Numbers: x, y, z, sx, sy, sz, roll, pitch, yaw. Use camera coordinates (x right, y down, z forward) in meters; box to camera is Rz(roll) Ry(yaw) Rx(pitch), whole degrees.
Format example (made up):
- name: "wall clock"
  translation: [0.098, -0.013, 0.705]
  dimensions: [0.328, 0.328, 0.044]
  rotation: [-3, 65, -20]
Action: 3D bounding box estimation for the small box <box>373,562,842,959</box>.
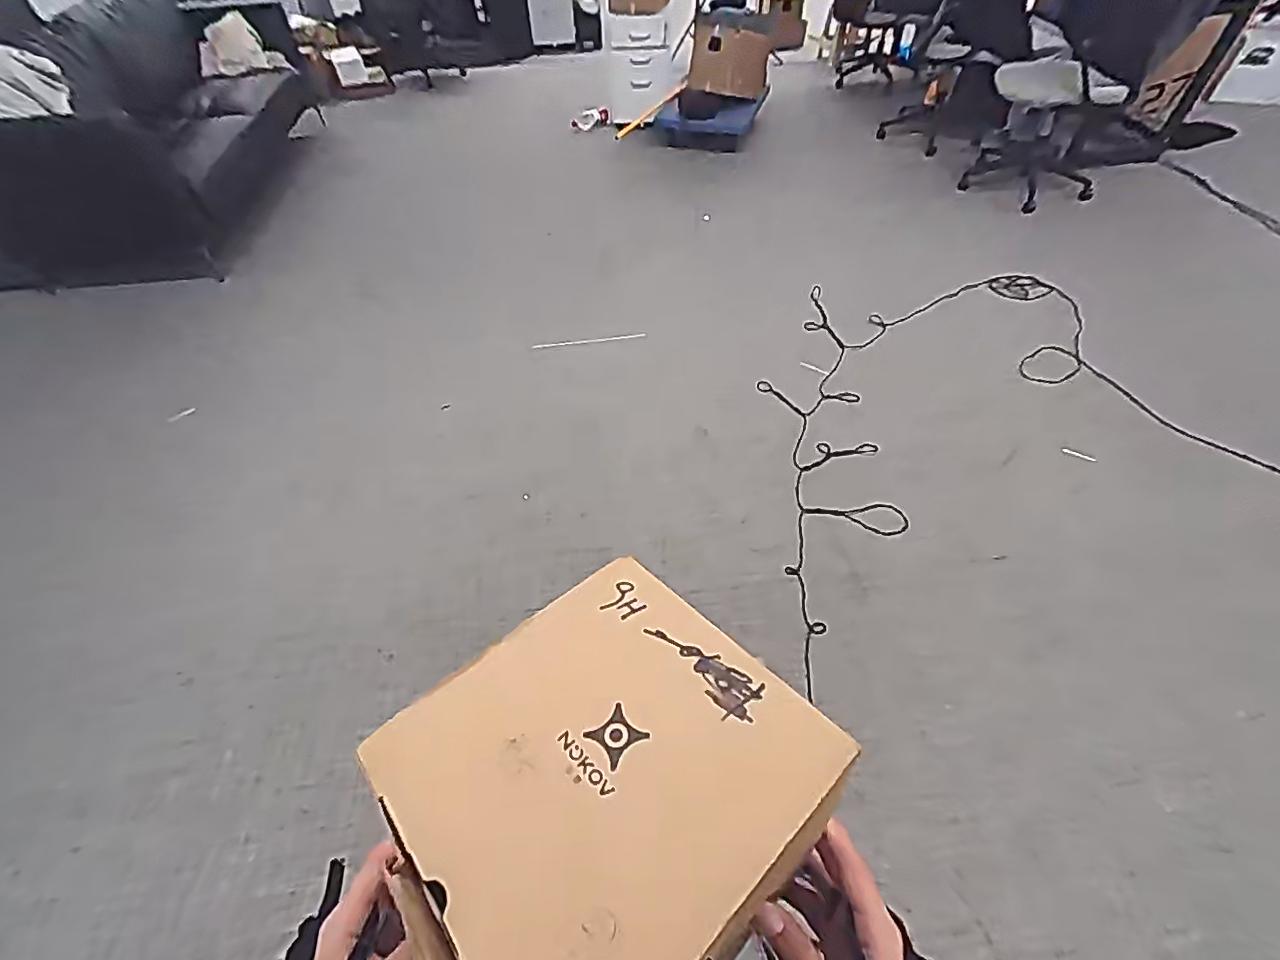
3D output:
- name: "small box"
  translation: [-0.012, 0.190, 0.315]
  dimensions: [0.179, 0.176, 0.168]
  rotation: [-33, 49, -29]
